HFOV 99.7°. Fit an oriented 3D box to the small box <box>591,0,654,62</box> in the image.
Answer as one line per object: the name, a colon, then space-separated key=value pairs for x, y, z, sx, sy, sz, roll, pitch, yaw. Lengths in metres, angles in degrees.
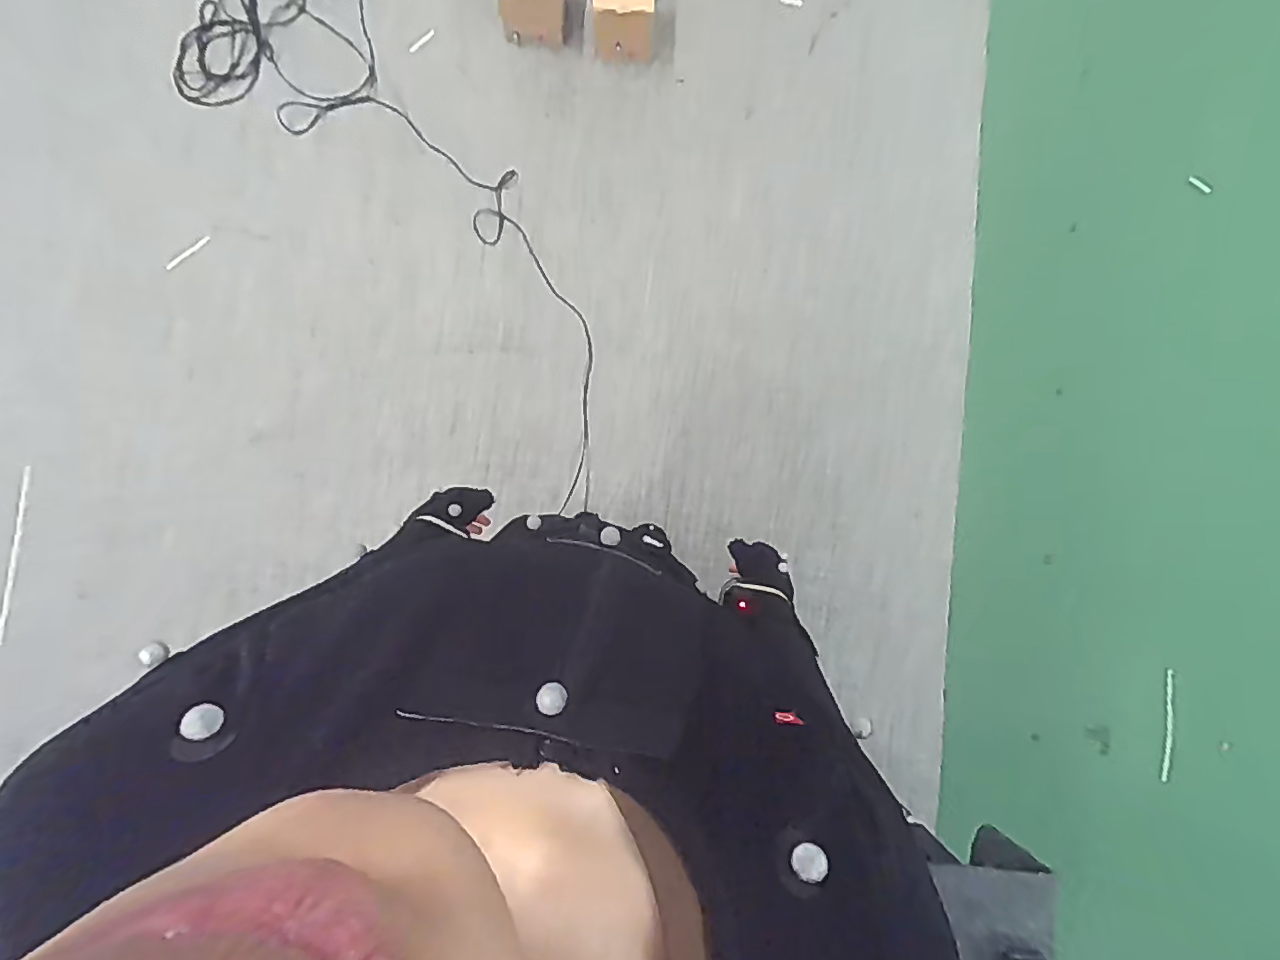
small box: x=-0.050 y=-1.310 z=1.494 sx=0.168 sy=0.176 sz=0.179 roll=0 pitch=88 yaw=-3

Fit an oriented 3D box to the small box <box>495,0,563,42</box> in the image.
small box: x=-0.302 y=-1.352 z=1.481 sx=0.168 sy=0.176 sz=0.179 roll=3 pitch=86 yaw=-3
